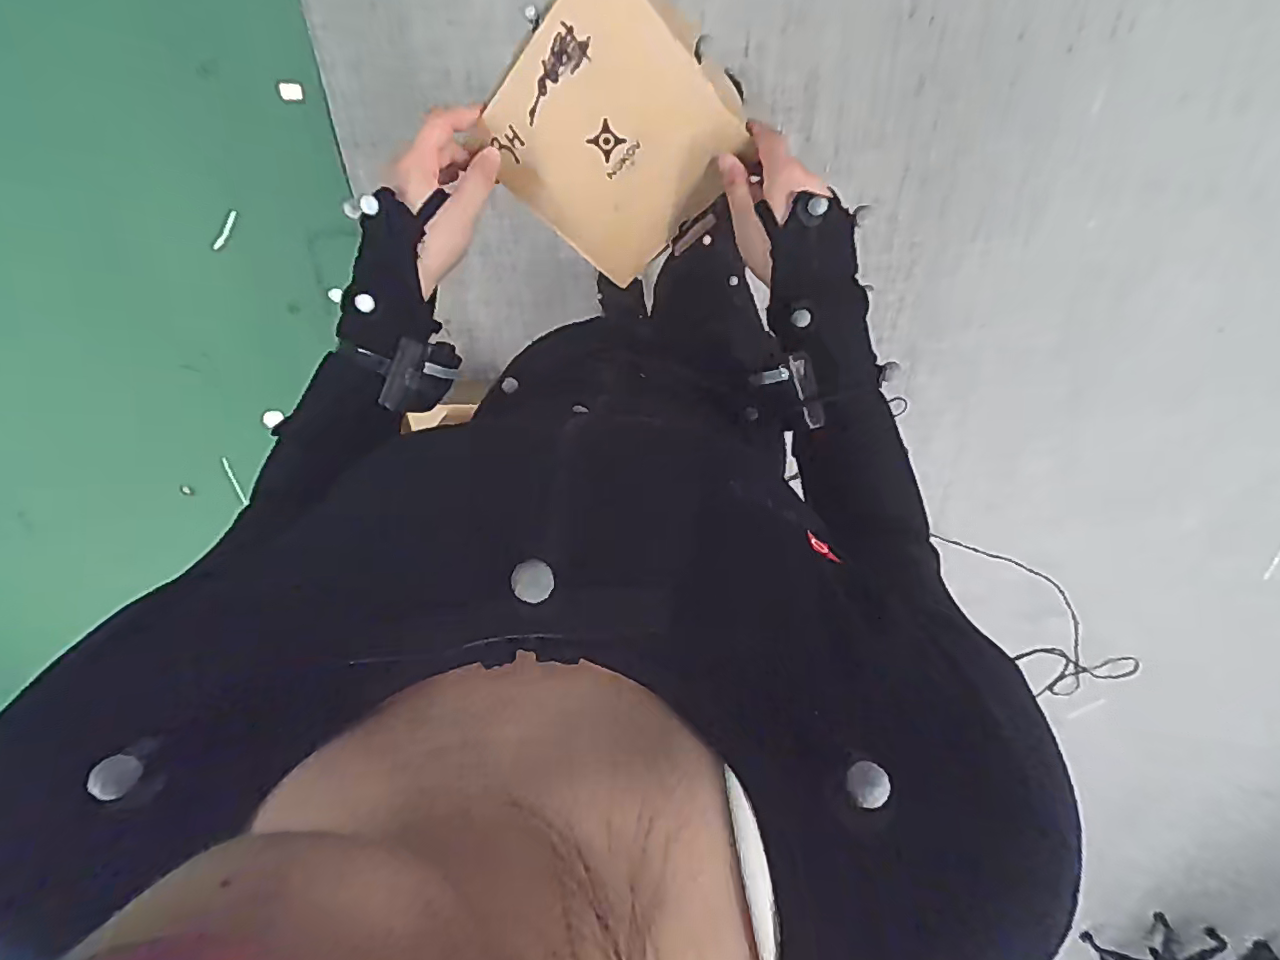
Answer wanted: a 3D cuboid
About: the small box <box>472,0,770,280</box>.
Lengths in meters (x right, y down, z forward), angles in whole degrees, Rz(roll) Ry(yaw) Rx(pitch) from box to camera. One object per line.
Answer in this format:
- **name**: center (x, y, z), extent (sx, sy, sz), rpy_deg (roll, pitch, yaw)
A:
- **small box**: center (-0.014, -0.322, 0.470), extent (0.179, 0.176, 0.168), rpy_deg (32, 129, -33)
